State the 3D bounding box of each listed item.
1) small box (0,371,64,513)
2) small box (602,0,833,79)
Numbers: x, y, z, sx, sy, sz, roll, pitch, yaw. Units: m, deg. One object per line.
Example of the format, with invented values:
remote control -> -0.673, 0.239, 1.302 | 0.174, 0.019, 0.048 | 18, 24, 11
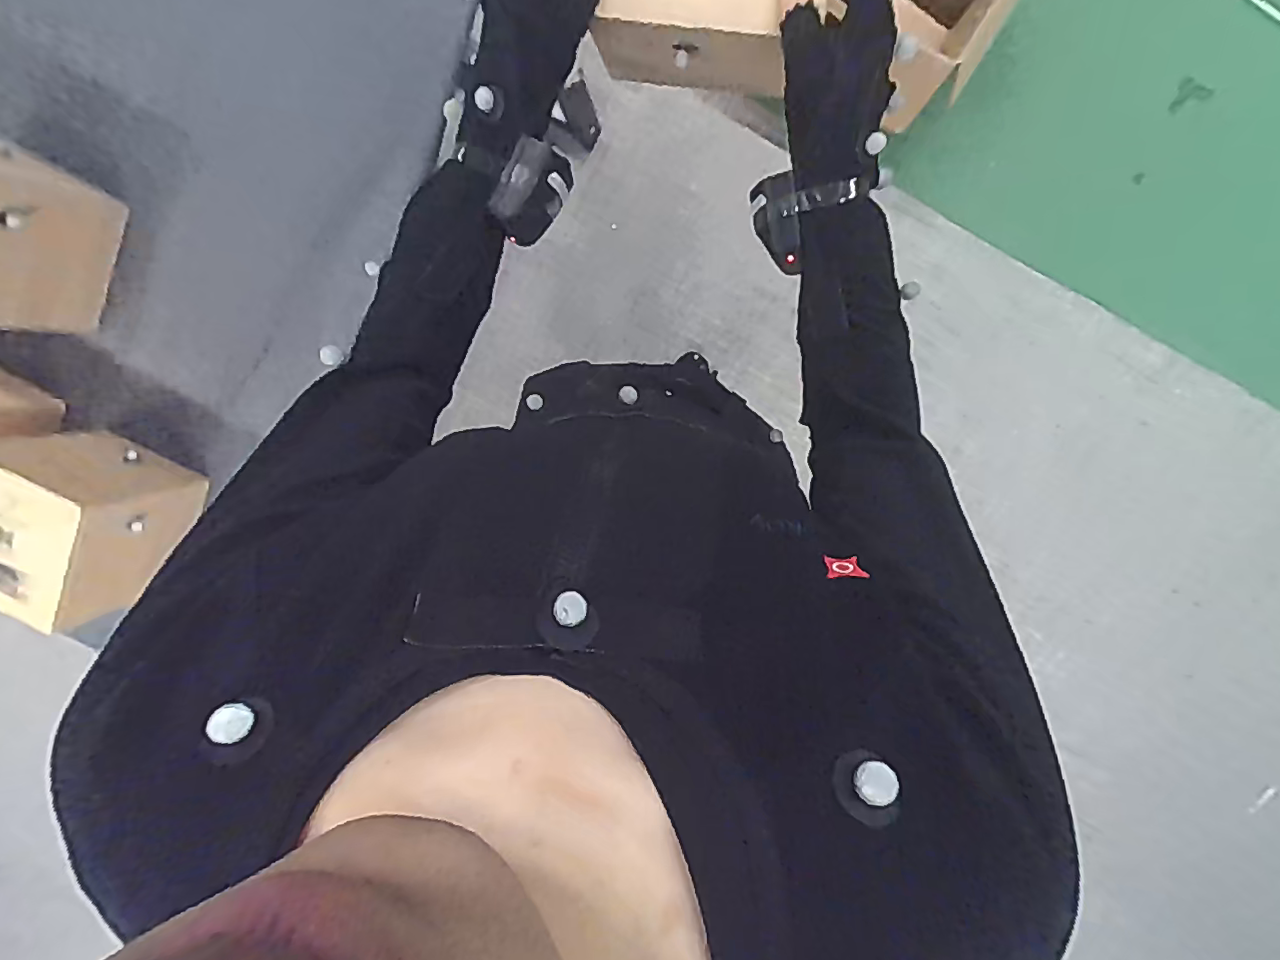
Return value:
small box -> -0.911, -0.056, 0.691 | 0.168, 0.176, 0.179 | 27, 104, -3
small box -> 0.062, -0.438, 0.421 | 0.179, 0.176, 0.168 | 7, 115, 1
